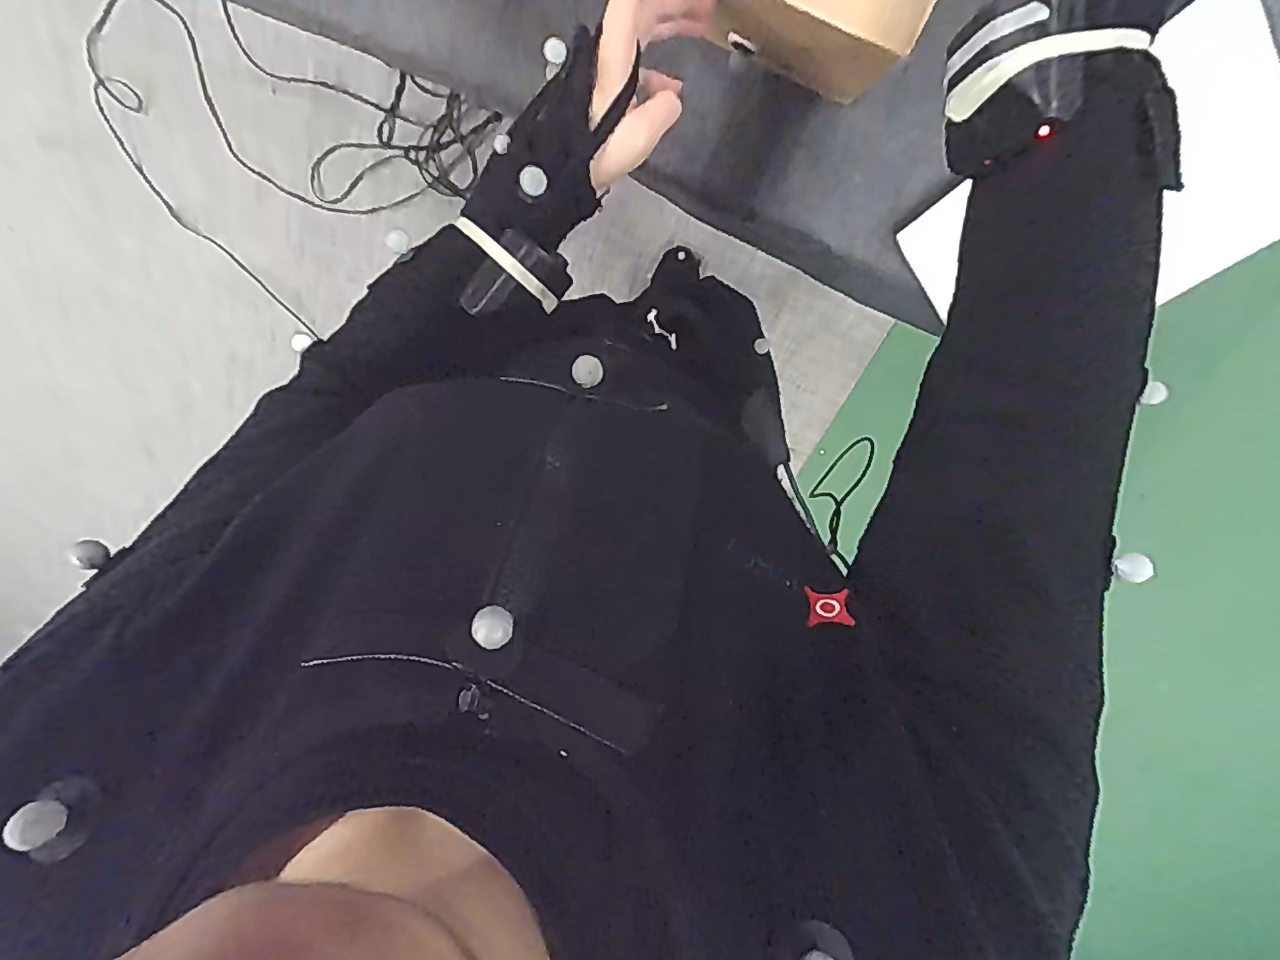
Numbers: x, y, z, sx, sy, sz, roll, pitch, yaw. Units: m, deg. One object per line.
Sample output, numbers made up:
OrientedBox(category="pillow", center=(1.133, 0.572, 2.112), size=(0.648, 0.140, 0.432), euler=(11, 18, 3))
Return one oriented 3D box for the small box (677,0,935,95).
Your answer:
OrientedBox(category="small box", center=(0.118, -0.377, 0.332), size=(0.168, 0.176, 0.179), euler=(22, 119, -3))
